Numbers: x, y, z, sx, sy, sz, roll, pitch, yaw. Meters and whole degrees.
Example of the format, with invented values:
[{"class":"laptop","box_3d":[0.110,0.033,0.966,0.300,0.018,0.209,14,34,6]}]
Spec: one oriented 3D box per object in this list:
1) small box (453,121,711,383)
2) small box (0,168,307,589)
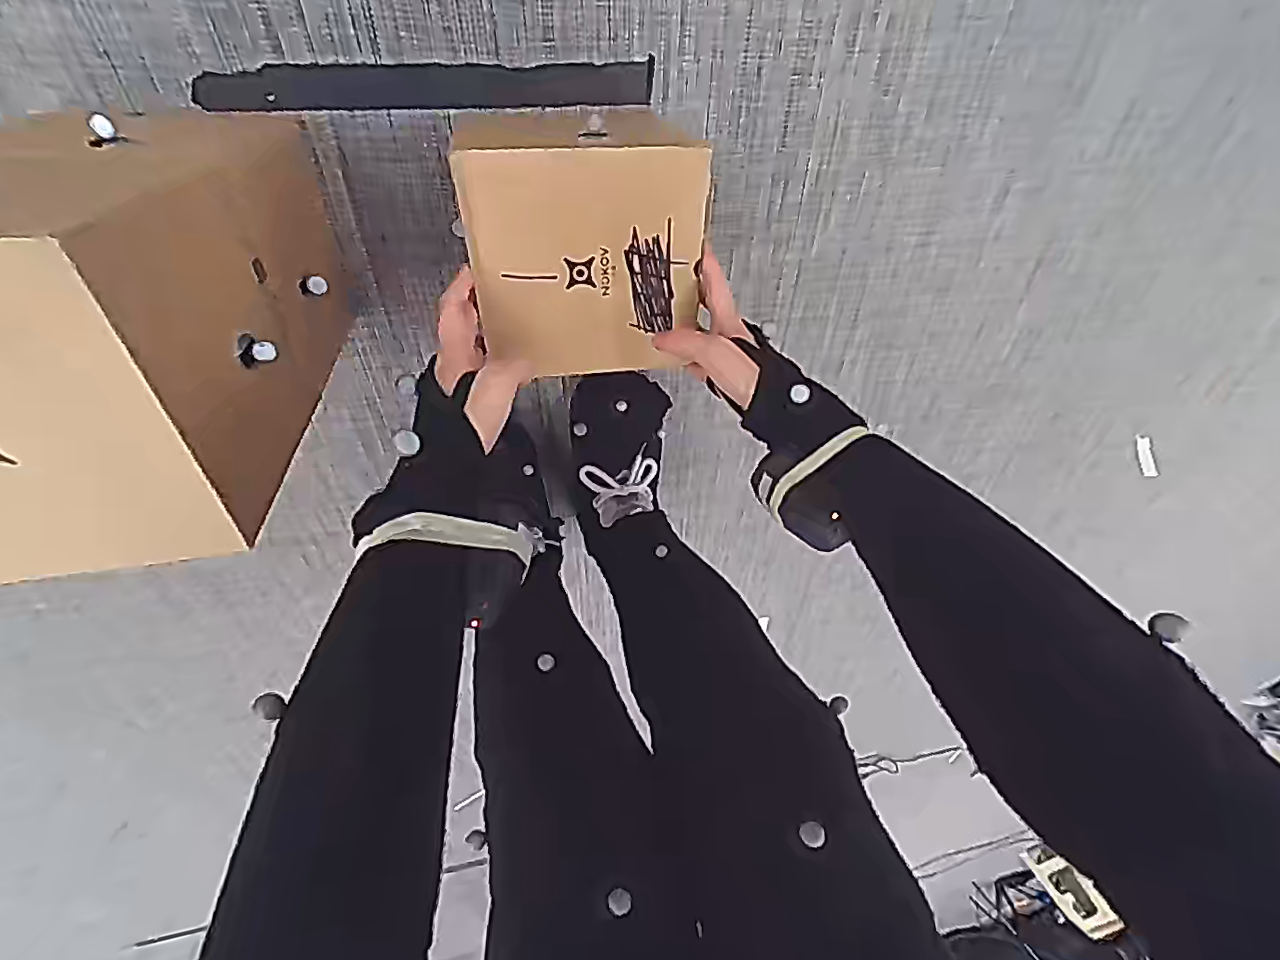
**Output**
[{"class":"small box","box_3d":[-0.053,-0.202,0.466,0.179,0.176,0.168,-6,130,-9]},{"class":"small box","box_3d":[-0.308,-0.062,0.292,0.179,0.176,0.168,-6,129,-10]}]
